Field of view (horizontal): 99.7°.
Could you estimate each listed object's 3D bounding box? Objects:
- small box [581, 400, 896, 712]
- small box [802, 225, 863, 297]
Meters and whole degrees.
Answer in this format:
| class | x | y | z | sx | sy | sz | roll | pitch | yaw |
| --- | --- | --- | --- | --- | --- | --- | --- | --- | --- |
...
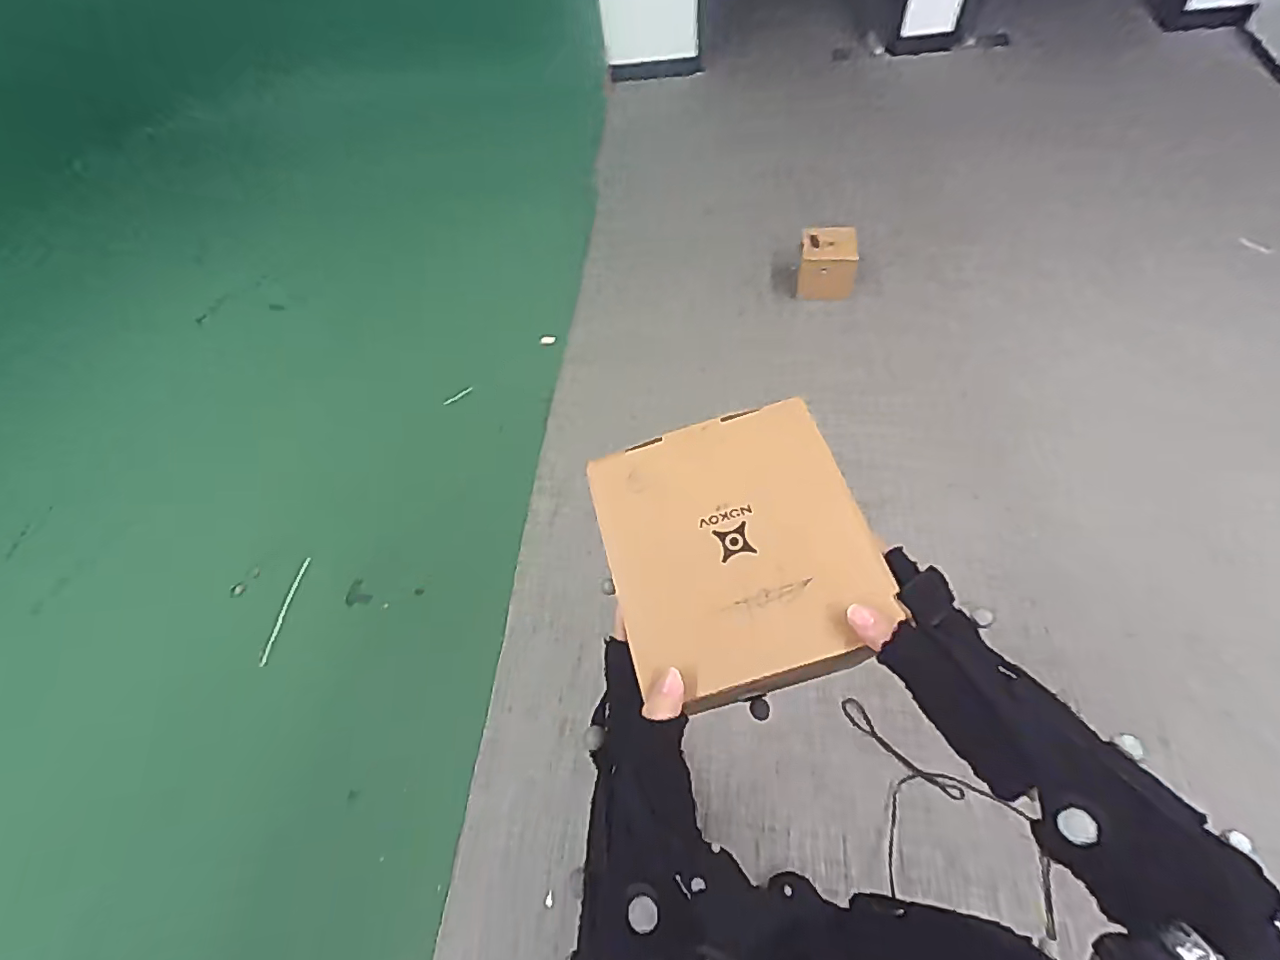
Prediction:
| class | x | y | z | sx | sy | sz | roll | pitch | yaw |
| --- | --- | --- | --- | --- | --- | --- | --- | --- | --- |
| small box | 0.064 | 0.070 | 0.424 | 0.168 | 0.176 | 0.179 | -16 | 64 | 2 |
| small box | 0.653 | -0.748 | 1.859 | 0.179 | 0.176 | 0.168 | 3 | 61 | 10 |
